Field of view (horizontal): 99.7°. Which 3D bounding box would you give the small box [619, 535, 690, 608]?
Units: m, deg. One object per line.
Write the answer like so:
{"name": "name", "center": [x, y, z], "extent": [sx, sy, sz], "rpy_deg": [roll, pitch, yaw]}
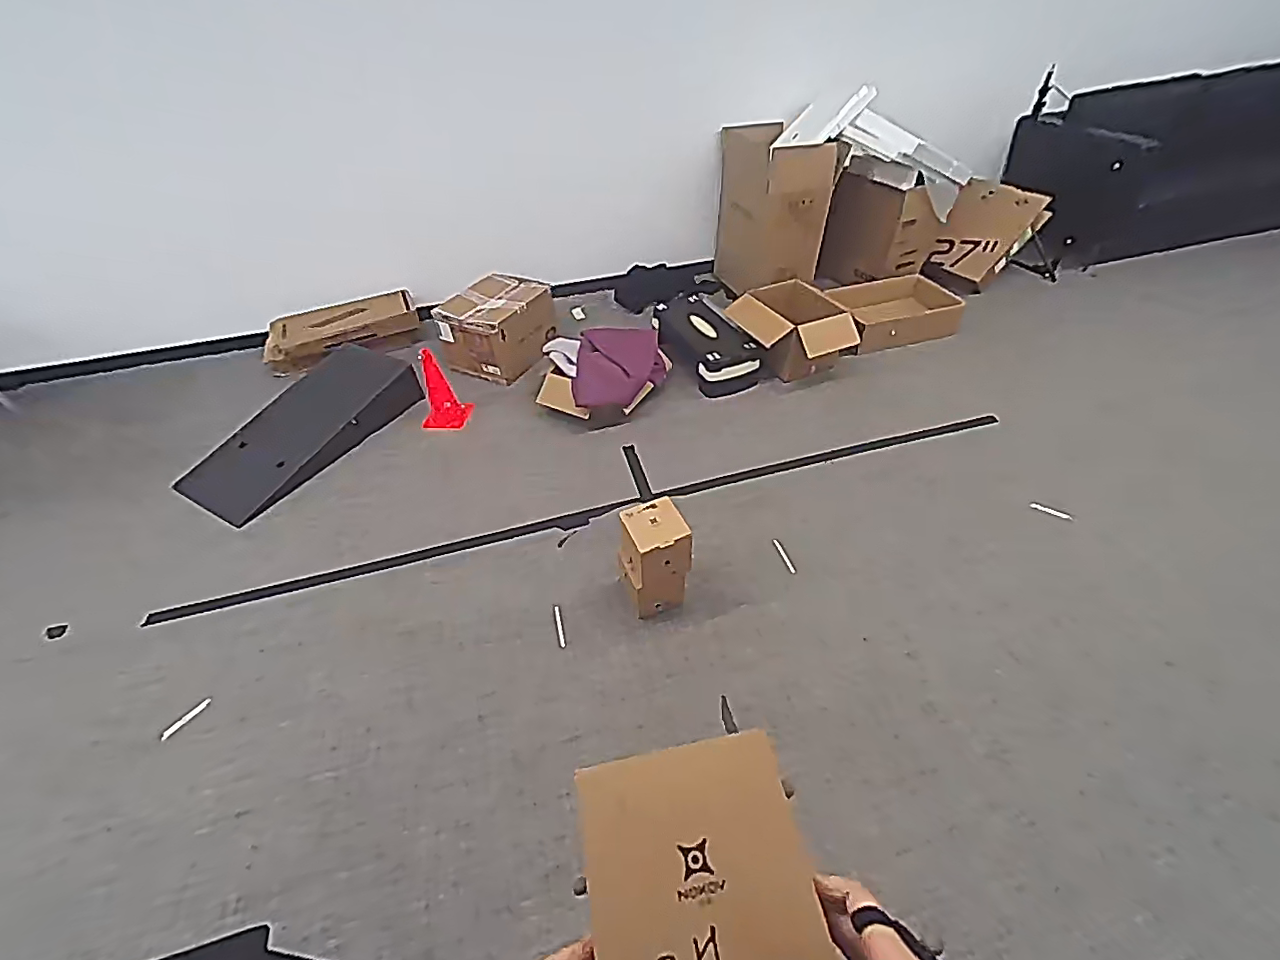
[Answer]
{"name": "small box", "center": [0.042, 0.262, 1.670], "extent": [0.168, 0.176, 0.179], "rpy_deg": [-18, 47, -14]}

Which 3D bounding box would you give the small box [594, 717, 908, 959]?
{"name": "small box", "center": [0.064, 0.295, 0.389], "extent": [0.168, 0.176, 0.179], "rpy_deg": [-11, 56, -5]}

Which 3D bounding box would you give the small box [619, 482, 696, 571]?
{"name": "small box", "center": [0.052, 0.141, 1.558], "extent": [0.168, 0.176, 0.179], "rpy_deg": [-19, 46, -14]}
